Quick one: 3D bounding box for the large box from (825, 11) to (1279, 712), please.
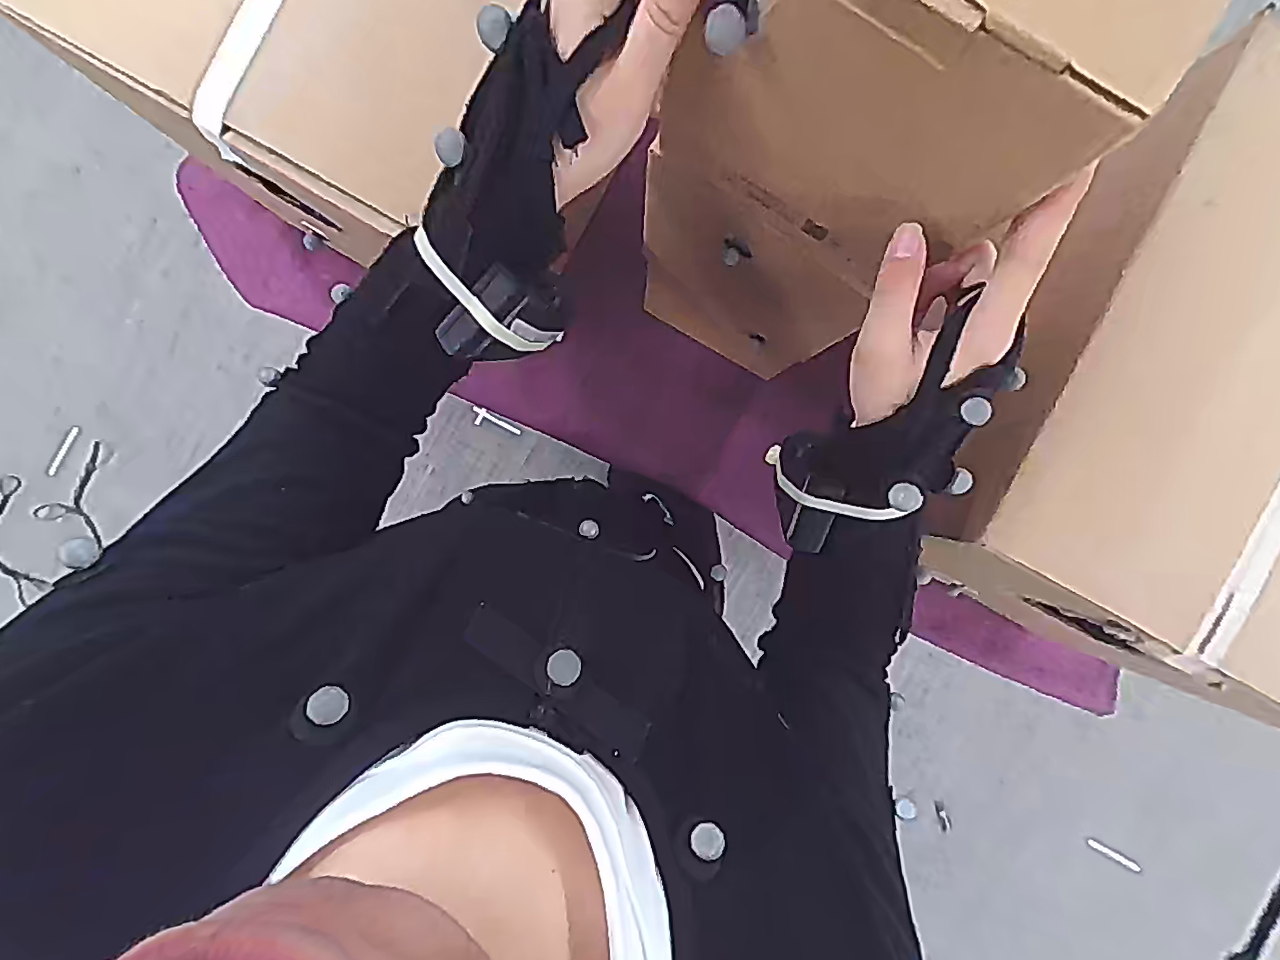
[{"bbox_3d":[0.440,-0.064,0.502,0.320,0.320,0.408,28,88,-2],"label":"large box"}]
